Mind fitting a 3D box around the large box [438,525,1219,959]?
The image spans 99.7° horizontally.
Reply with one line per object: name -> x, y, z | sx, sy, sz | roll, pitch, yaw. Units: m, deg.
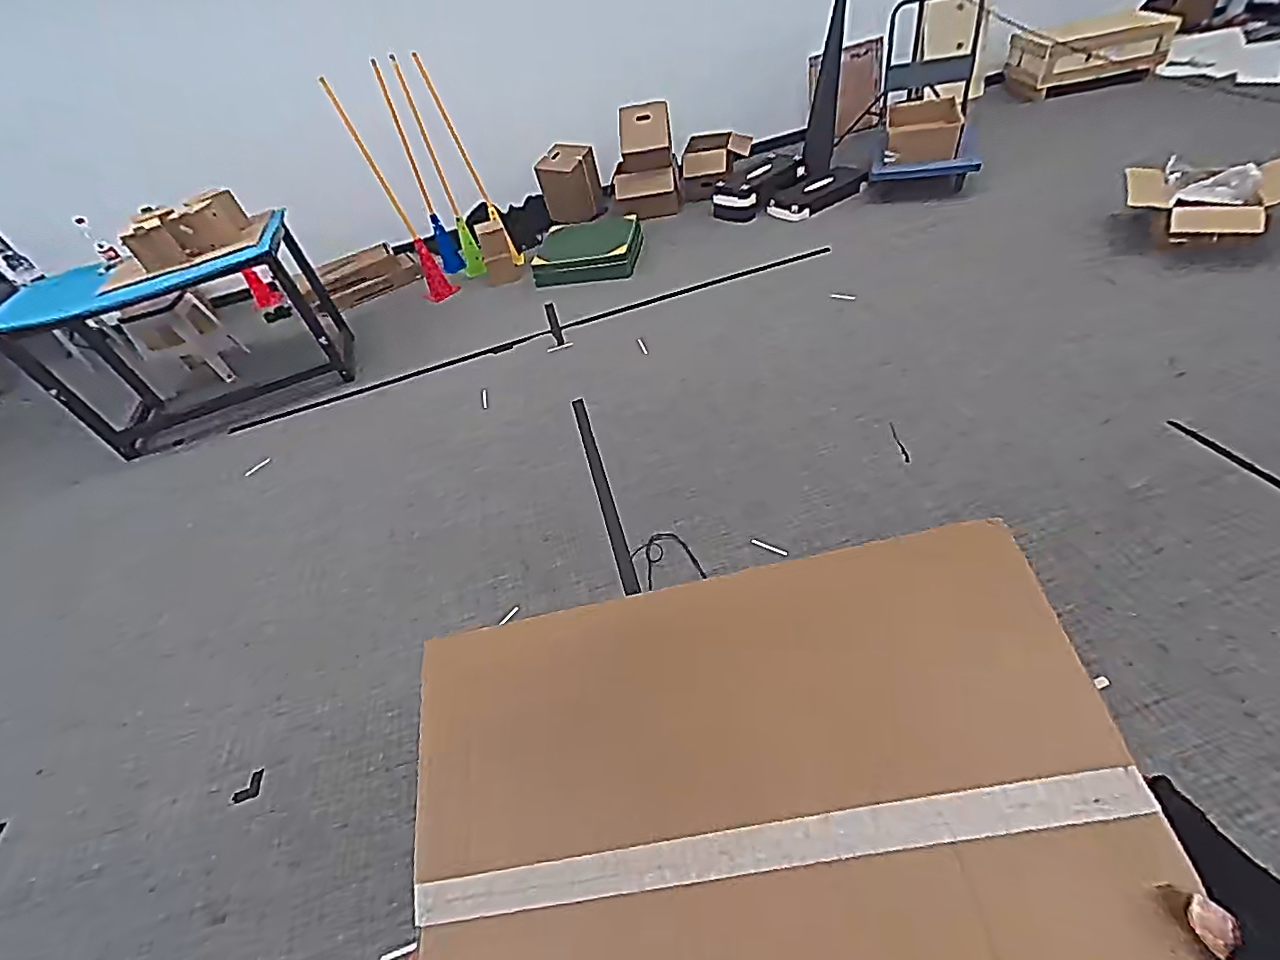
large box -> 0.100, 0.277, 0.437 | 0.408, 0.320, 0.320 | -15, 62, 7
